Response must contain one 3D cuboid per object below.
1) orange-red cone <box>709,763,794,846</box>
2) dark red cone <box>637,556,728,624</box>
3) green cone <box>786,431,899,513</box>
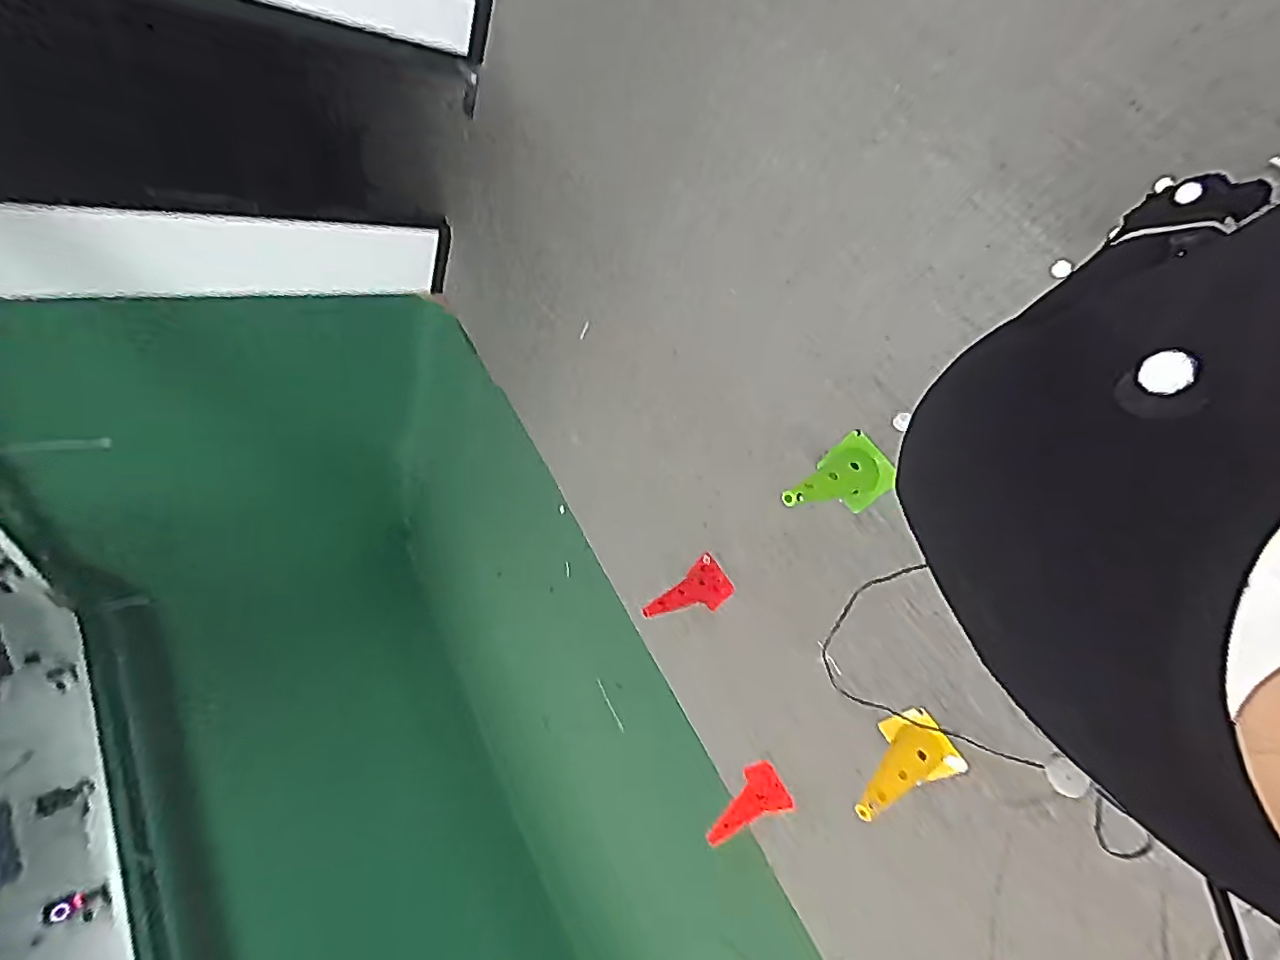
[{"bbox_3d":[0.407,1.328,2.154,0.198,0.360,0.199,58,138,19],"label":"orange-red cone"},{"bbox_3d":[0.147,0.474,2.142,0.202,0.394,0.201,54,139,24],"label":"dark red cone"},{"bbox_3d":[0.531,0.016,1.541,0.202,0.368,0.200,56,139,20],"label":"green cone"}]
